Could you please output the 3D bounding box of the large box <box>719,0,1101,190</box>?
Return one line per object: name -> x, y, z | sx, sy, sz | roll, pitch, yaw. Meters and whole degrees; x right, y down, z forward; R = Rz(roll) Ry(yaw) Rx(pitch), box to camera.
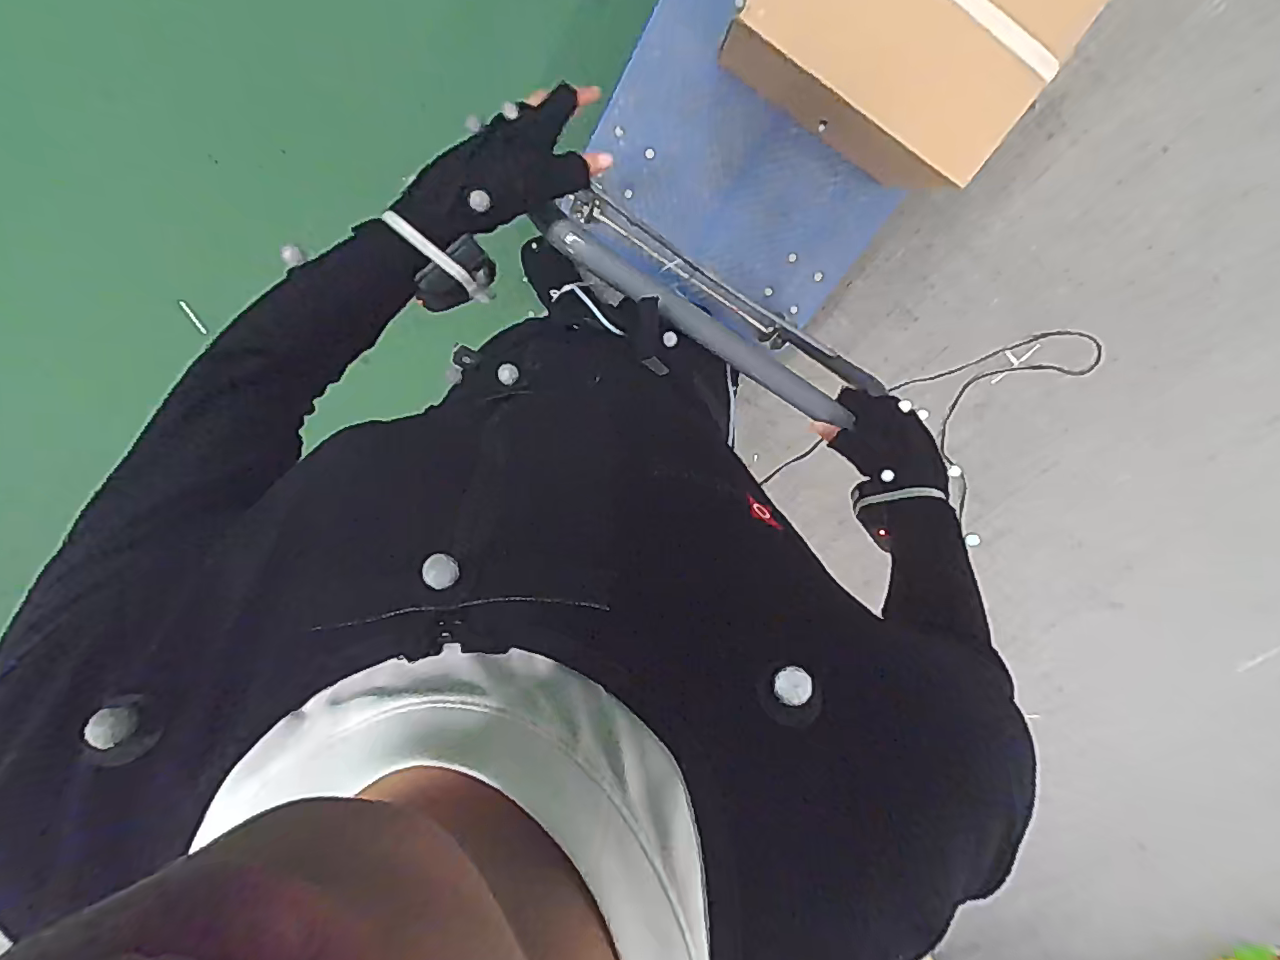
large box -> 0.376, -0.697, 0.820 | 0.408, 0.320, 0.320 | 29, 116, -11
